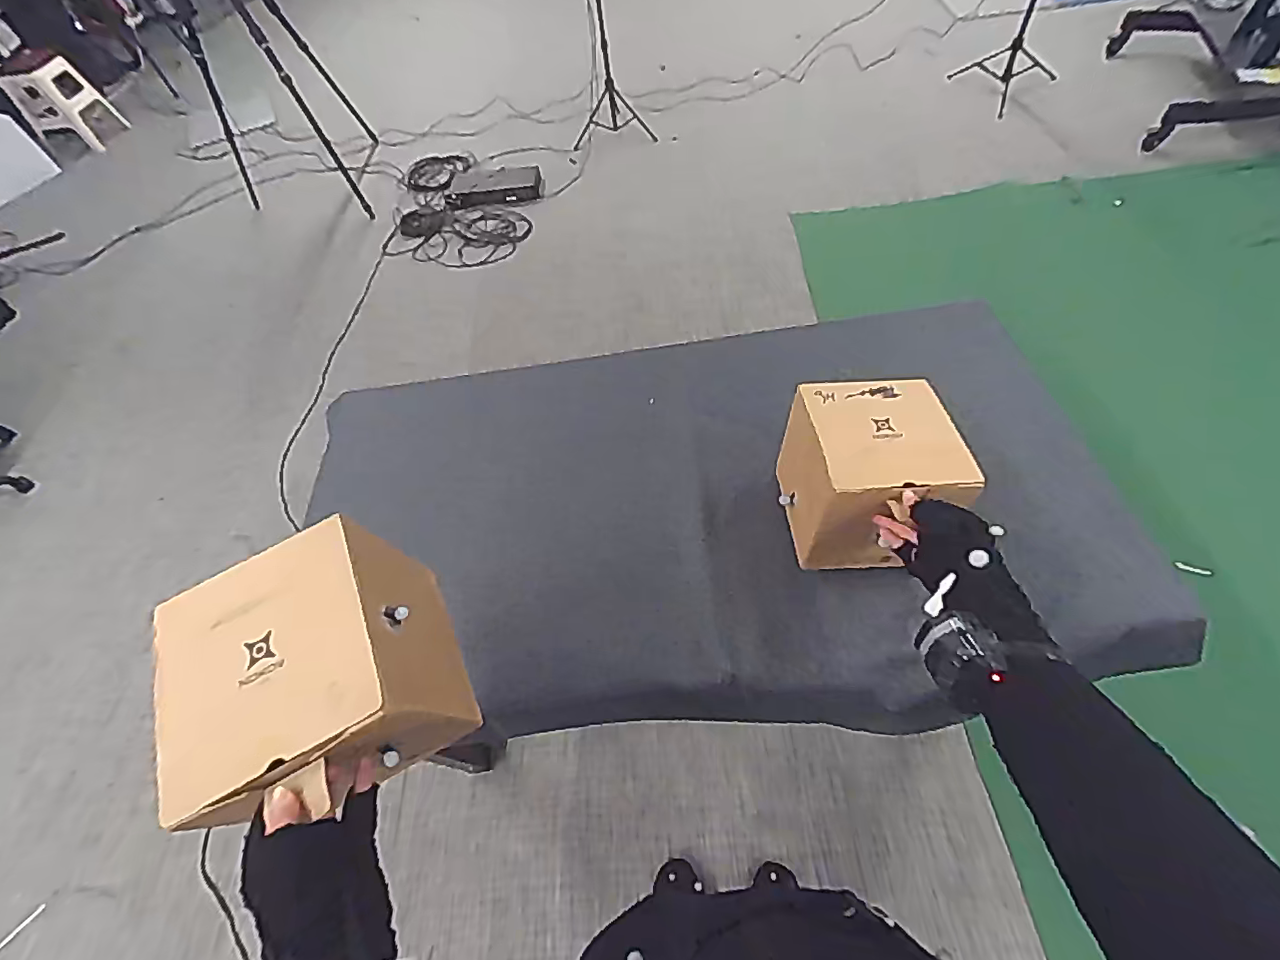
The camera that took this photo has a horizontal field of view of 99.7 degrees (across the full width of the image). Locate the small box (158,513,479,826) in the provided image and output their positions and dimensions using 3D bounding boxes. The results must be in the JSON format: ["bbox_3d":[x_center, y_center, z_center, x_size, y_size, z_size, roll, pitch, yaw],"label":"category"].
[{"bbox_3d":[-0.267,0.164,0.475,0.168,0.176,0.179,-28,61,-5],"label":"small box"}]

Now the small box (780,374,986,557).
[{"bbox_3d":[0.286,-0.012,0.685,0.168,0.176,0.179,-2,52,-1],"label":"small box"}]
